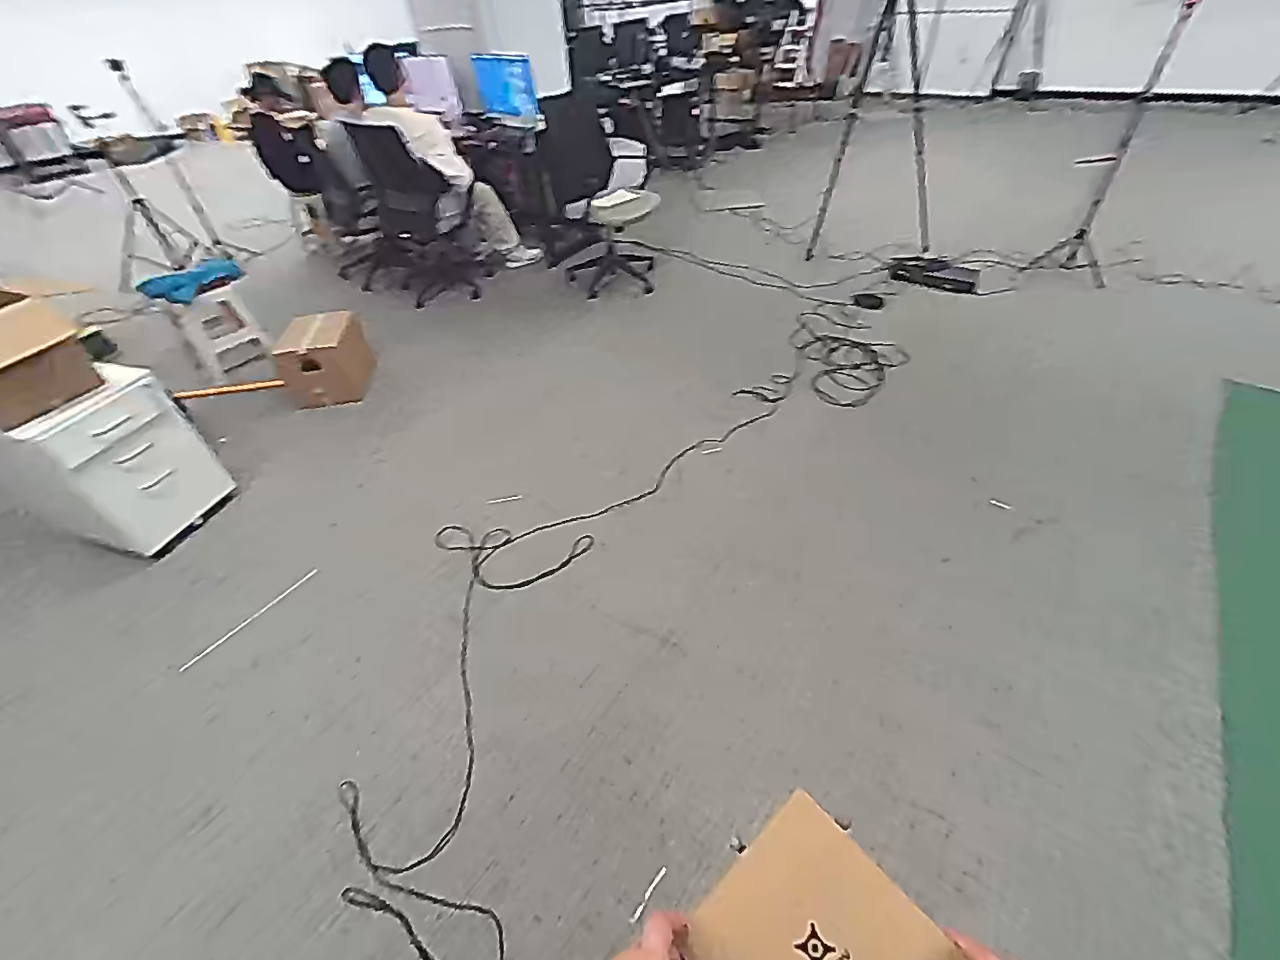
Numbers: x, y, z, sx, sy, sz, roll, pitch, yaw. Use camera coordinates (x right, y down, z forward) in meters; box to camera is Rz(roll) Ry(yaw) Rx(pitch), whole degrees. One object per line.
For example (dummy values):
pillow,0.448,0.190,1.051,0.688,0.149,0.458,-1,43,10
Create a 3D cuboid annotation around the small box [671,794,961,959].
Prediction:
small box,0.151,0.419,0.480,0.168,0.176,0.179,-42,59,-16
